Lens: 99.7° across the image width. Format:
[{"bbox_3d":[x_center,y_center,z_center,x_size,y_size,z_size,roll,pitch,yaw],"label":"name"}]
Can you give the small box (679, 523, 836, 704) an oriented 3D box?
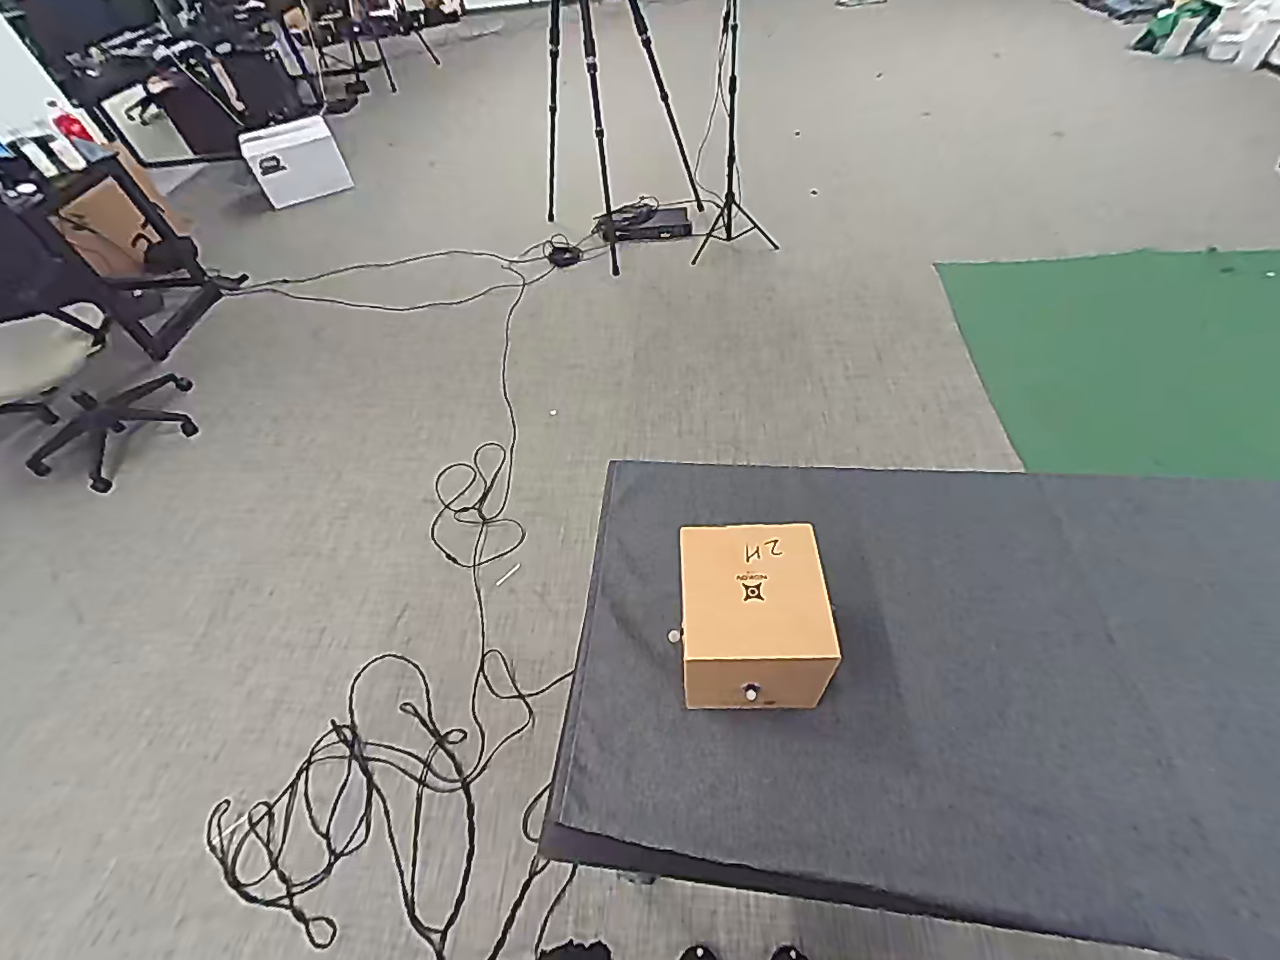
[{"bbox_3d":[0.136,0.174,0.687,0.168,0.176,0.179,-2,50,4],"label":"small box"}]
